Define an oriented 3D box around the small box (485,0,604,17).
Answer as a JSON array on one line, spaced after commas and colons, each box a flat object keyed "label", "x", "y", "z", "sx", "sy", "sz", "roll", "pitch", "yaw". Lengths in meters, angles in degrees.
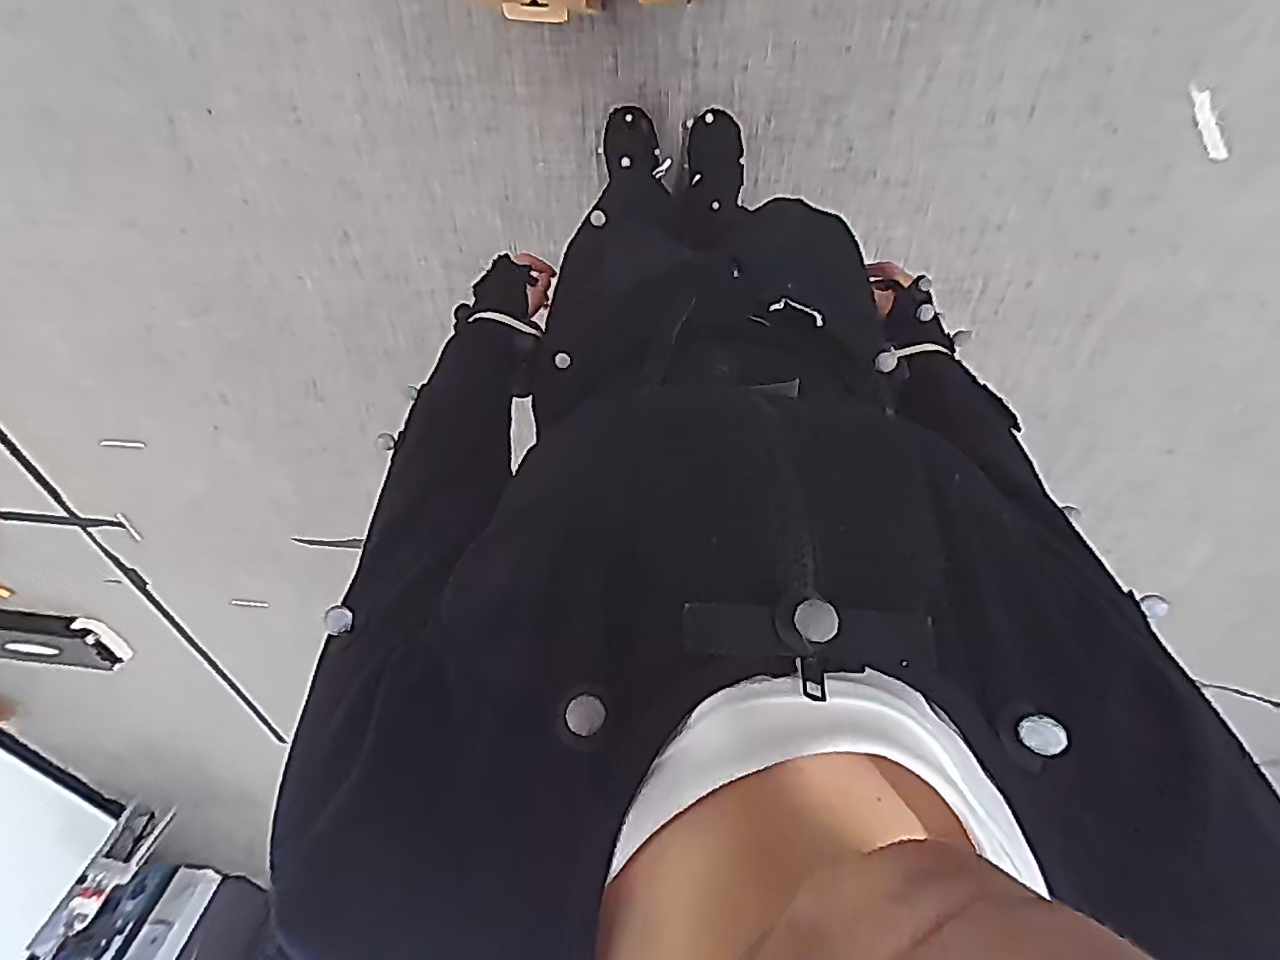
[{"label": "small box", "x": -0.149, "y": -0.848, "z": 0.850, "sx": 0.168, "sy": 0.176, "sz": 0.179, "roll": 5, "pitch": 128, "yaw": 3}]
